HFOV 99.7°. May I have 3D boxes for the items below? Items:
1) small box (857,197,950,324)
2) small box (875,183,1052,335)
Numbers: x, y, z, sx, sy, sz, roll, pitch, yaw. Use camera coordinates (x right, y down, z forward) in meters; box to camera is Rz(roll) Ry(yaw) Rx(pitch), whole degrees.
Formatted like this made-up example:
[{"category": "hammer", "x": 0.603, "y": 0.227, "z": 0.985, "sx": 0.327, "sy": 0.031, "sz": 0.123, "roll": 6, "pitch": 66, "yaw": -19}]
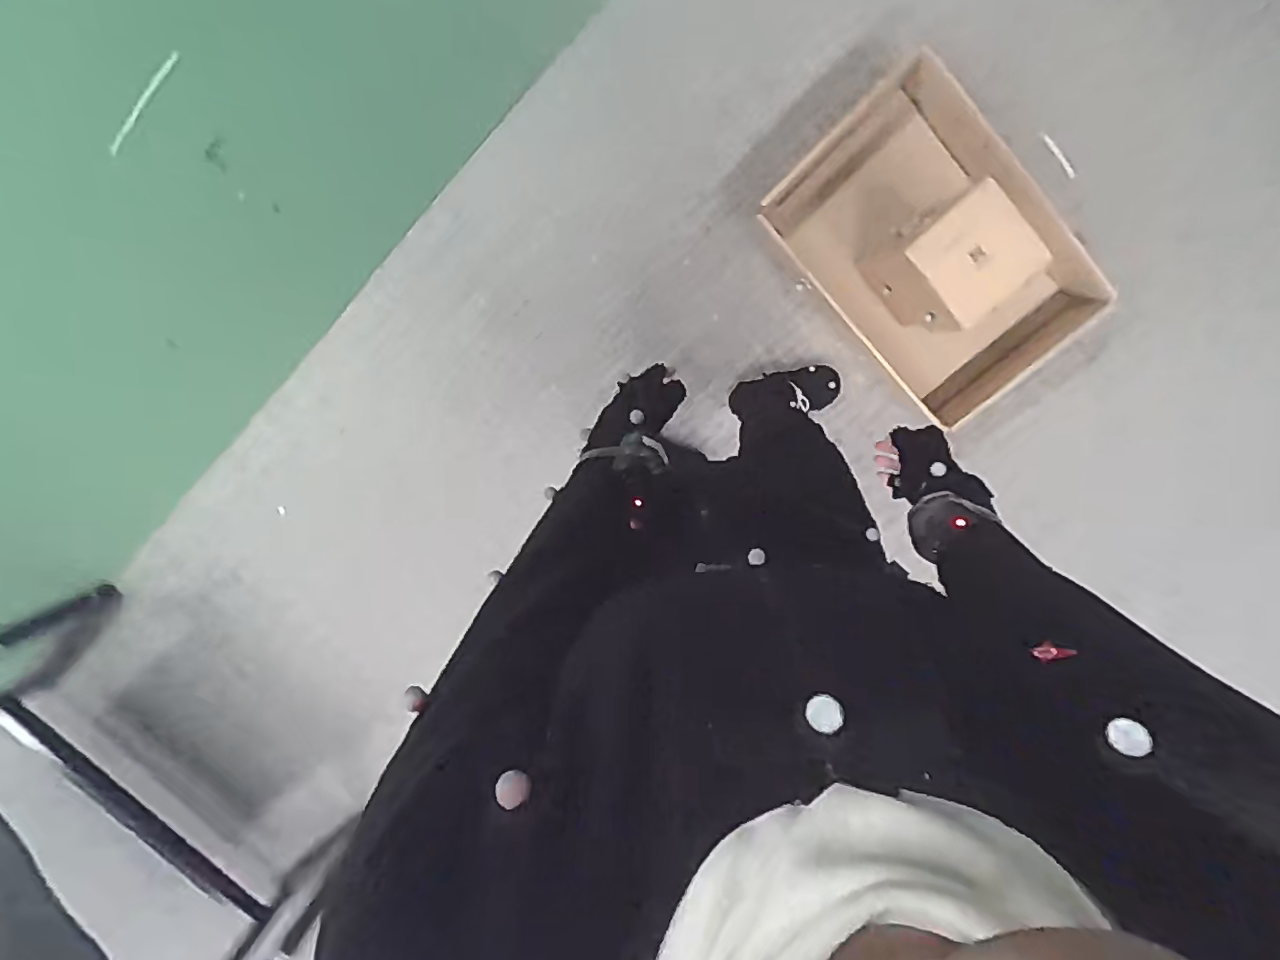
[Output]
[{"category": "small box", "x": 0.586, "y": -0.441, "z": 1.124, "sx": 0.168, "sy": 0.176, "sz": 0.179, "roll": -43, "pitch": 97, "yaw": 14}, {"category": "small box", "x": 0.557, "y": -0.379, "z": 0.955, "sx": 0.179, "sy": 0.176, "sz": 0.168, "roll": 43, "pitch": 105, "yaw": -6}]
